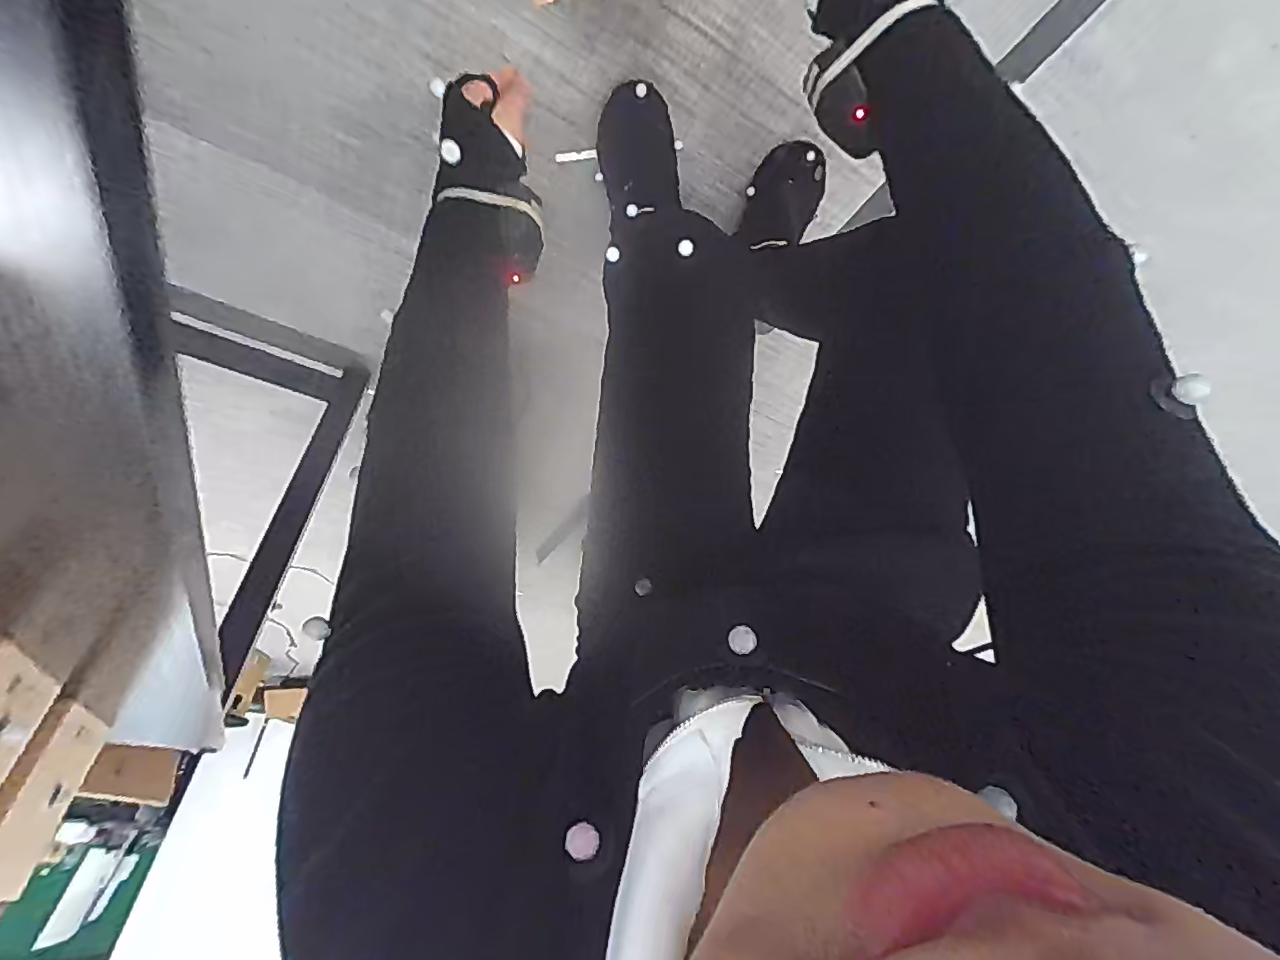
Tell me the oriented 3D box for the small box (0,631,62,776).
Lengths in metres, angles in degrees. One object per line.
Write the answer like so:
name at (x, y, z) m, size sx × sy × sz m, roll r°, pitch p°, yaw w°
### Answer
small box at (-0.578, 0.192, 0.373) m, size 0.179 × 0.176 × 0.168 m, roll 19°, pitch 141°, yaw -24°
